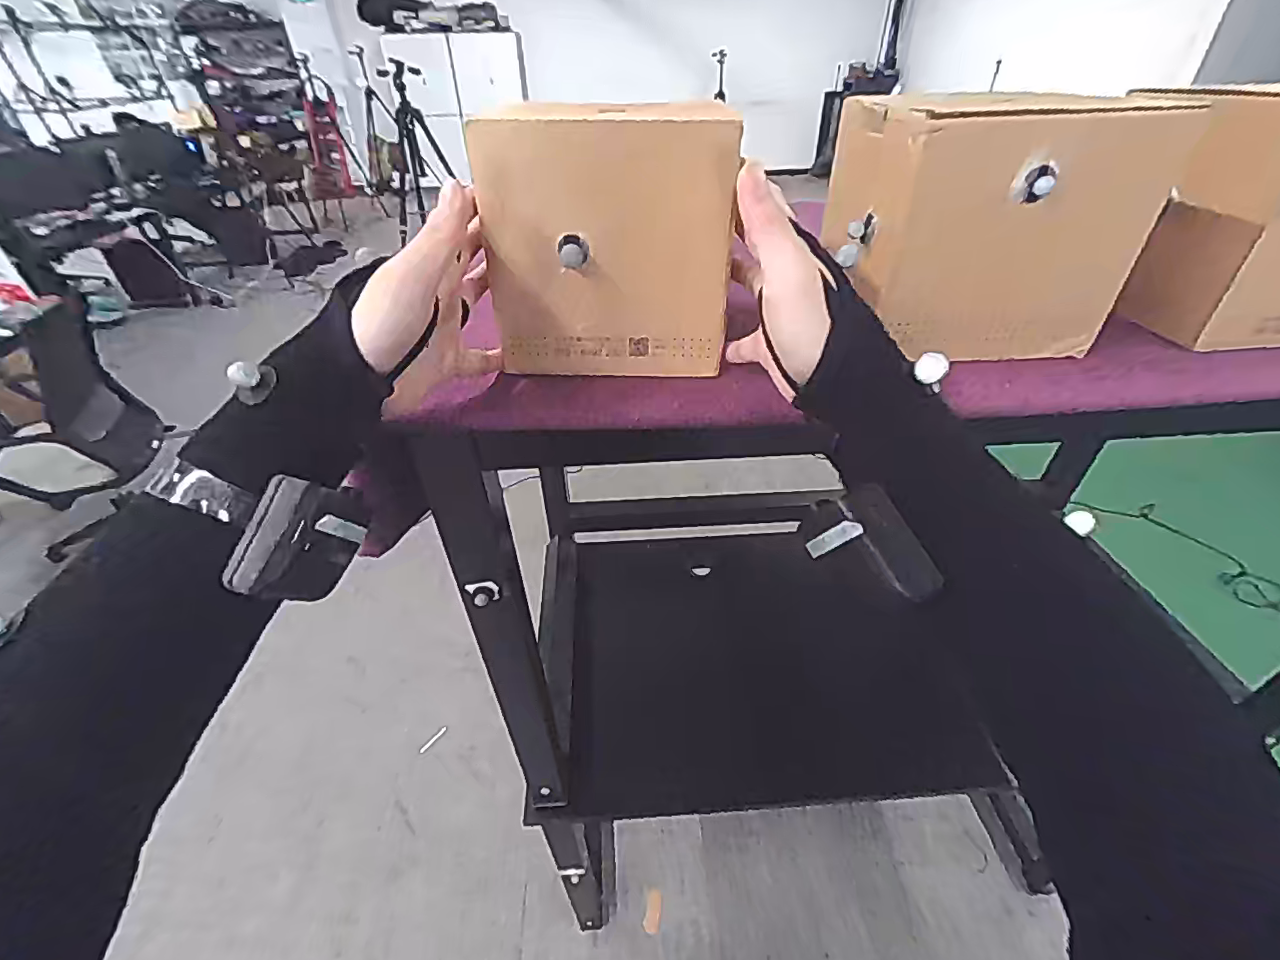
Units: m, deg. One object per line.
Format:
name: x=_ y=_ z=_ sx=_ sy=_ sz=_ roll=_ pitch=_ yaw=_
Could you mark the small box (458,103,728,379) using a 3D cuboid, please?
small box: x=-0.022 y=-0.190 z=0.430 sx=0.168 sy=0.176 sz=0.179 roll=0 pitch=37 yaw=2
